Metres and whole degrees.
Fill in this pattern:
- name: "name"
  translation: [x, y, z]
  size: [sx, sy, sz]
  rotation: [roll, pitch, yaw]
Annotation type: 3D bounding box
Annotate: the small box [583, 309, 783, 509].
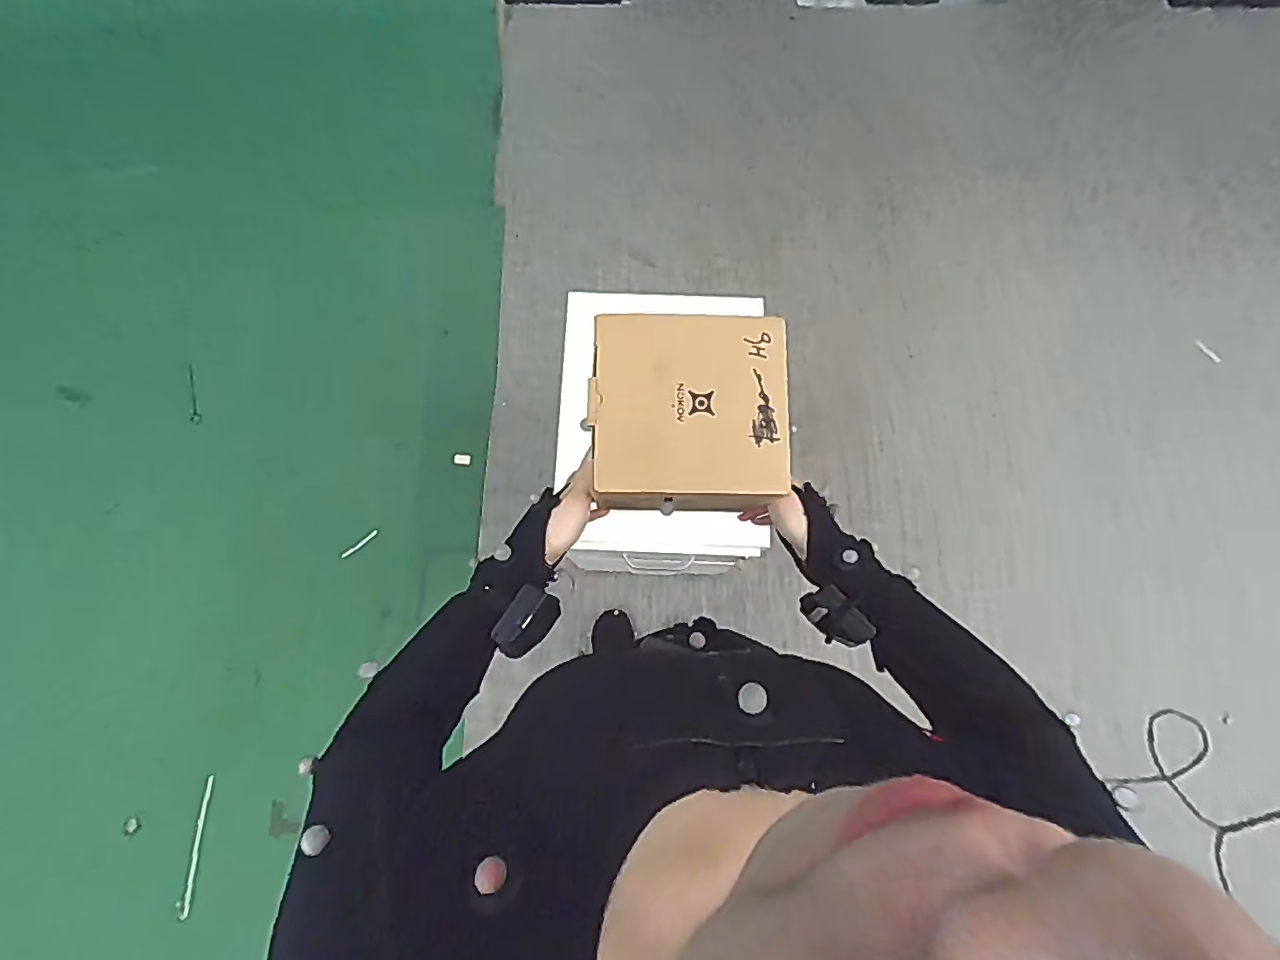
- name: "small box"
  translation: [0.037, -0.060, 0.558]
  size: [0.179, 0.176, 0.168]
  rotation: [1, 81, -2]
